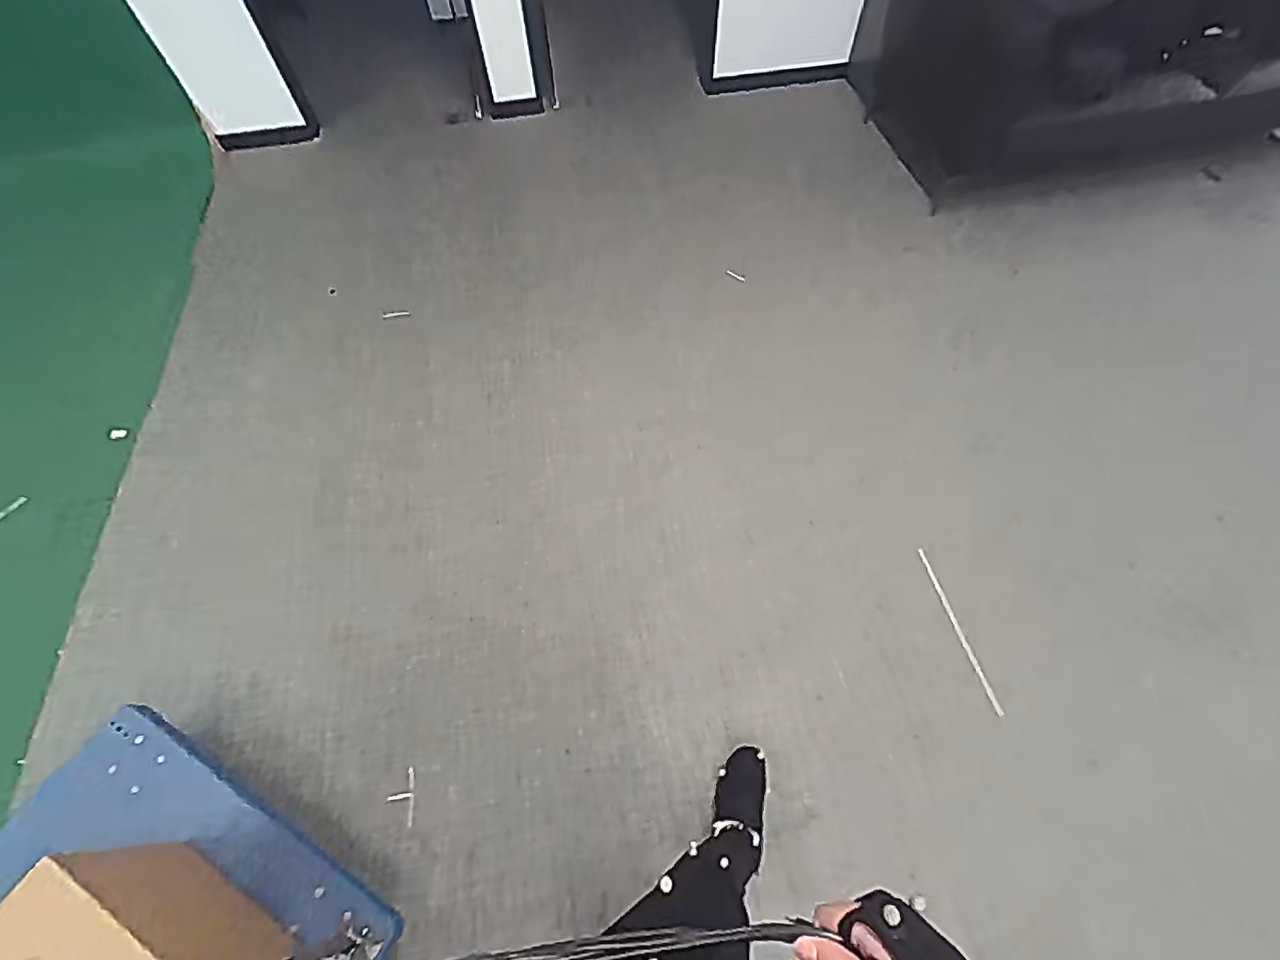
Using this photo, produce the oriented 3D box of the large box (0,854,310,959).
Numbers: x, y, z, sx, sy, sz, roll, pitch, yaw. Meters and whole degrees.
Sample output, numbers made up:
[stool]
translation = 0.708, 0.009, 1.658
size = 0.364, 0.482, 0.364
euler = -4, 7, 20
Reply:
[large box]
translation = -0.862, 0.904, 0.899
size = 0.408, 0.320, 0.320
euler = 24, 62, 16
